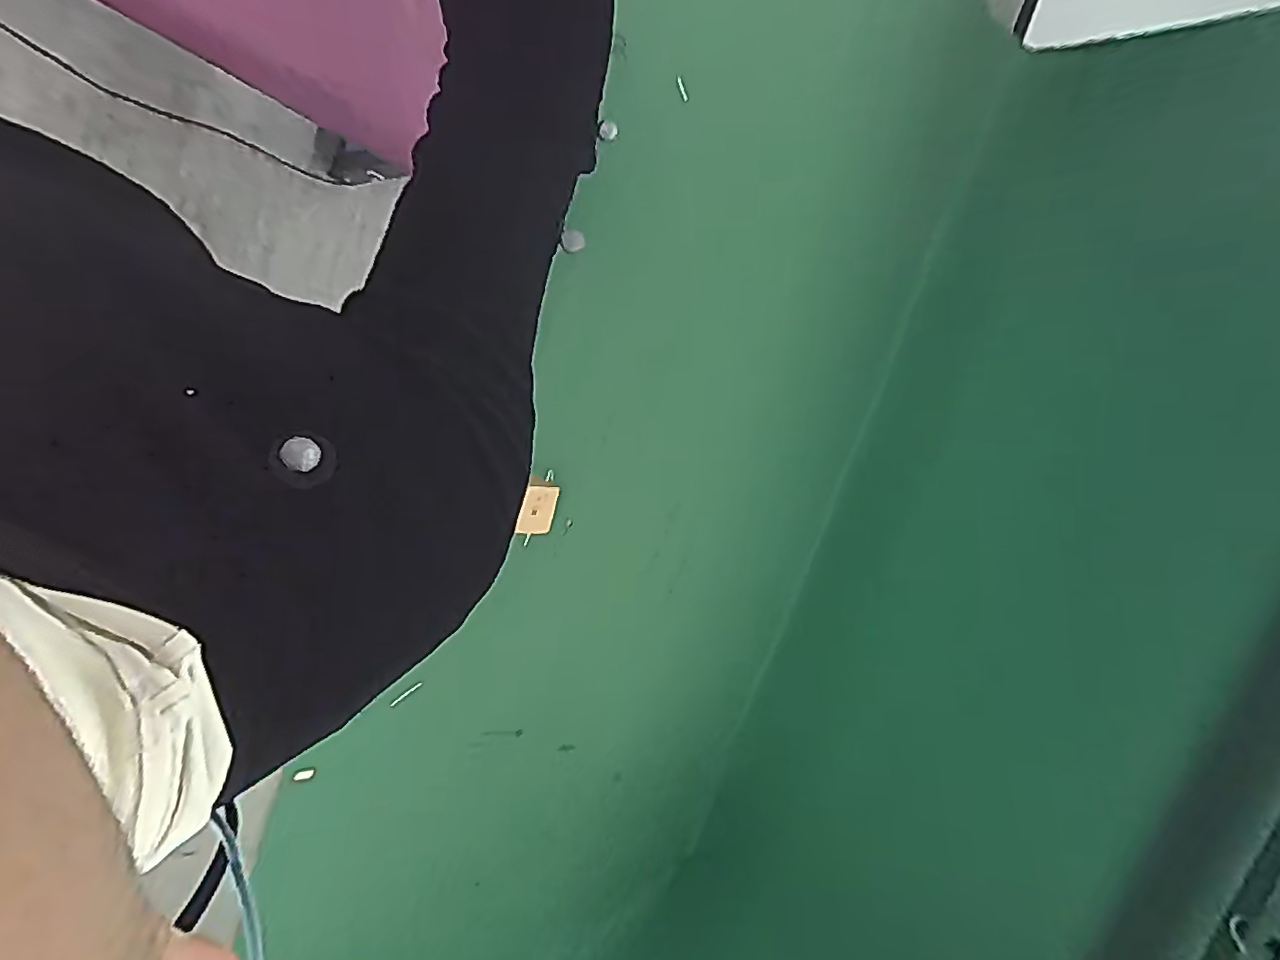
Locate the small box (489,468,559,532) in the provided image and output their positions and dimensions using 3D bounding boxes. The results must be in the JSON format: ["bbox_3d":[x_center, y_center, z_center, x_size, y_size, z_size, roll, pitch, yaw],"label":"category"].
[{"bbox_3d":[-0.420,0.073,1.932,0.168,0.176,0.179,6,105,-46],"label":"small box"}]
